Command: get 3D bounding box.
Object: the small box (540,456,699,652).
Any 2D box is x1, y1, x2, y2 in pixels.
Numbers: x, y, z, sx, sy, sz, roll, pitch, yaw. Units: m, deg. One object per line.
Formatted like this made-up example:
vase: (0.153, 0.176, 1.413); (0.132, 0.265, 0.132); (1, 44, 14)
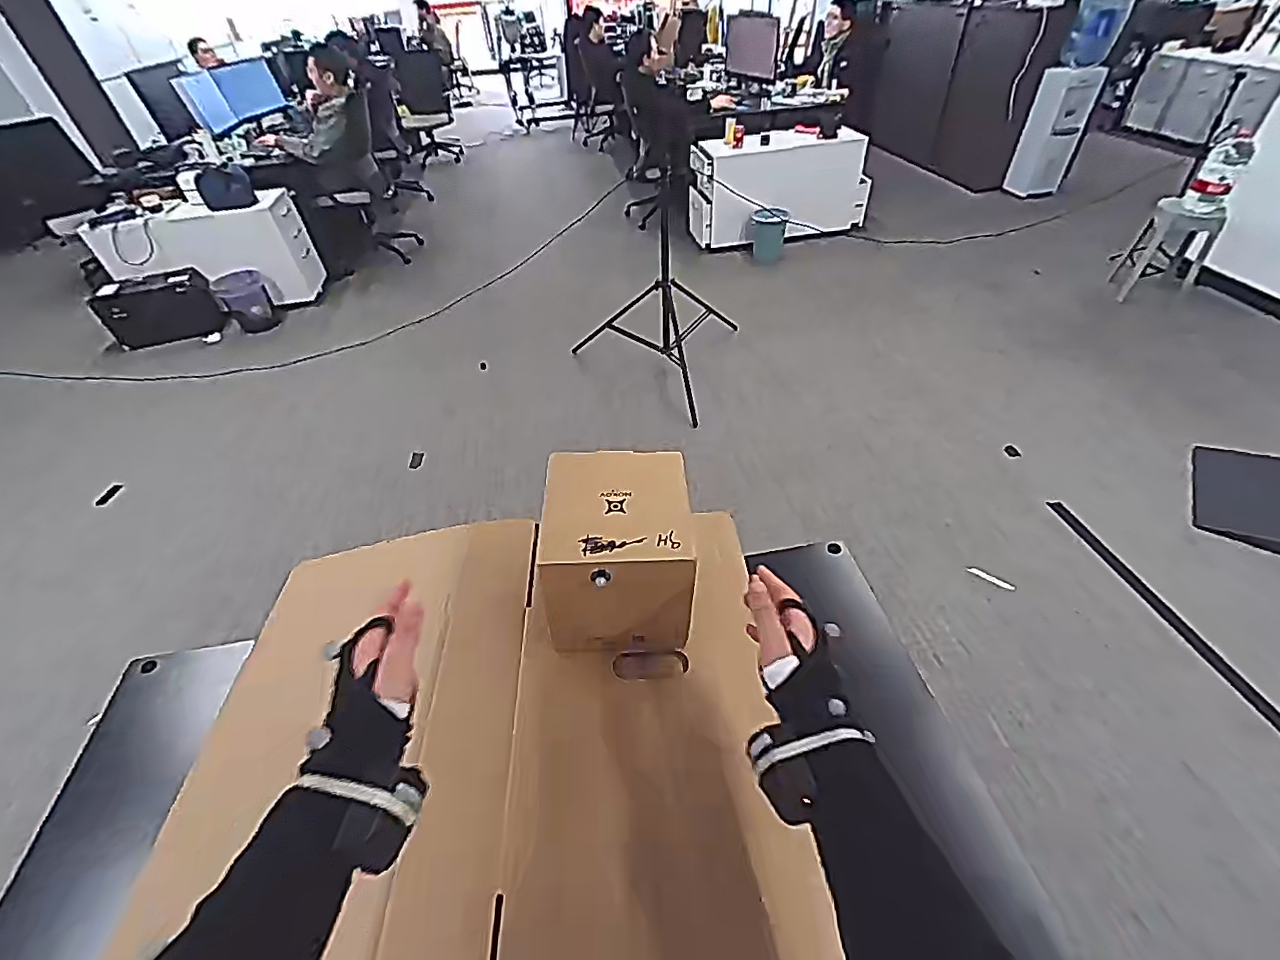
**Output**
small box: (-0.024, 0.089, 0.665); (0.168, 0.176, 0.179); (-2, 41, -2)
